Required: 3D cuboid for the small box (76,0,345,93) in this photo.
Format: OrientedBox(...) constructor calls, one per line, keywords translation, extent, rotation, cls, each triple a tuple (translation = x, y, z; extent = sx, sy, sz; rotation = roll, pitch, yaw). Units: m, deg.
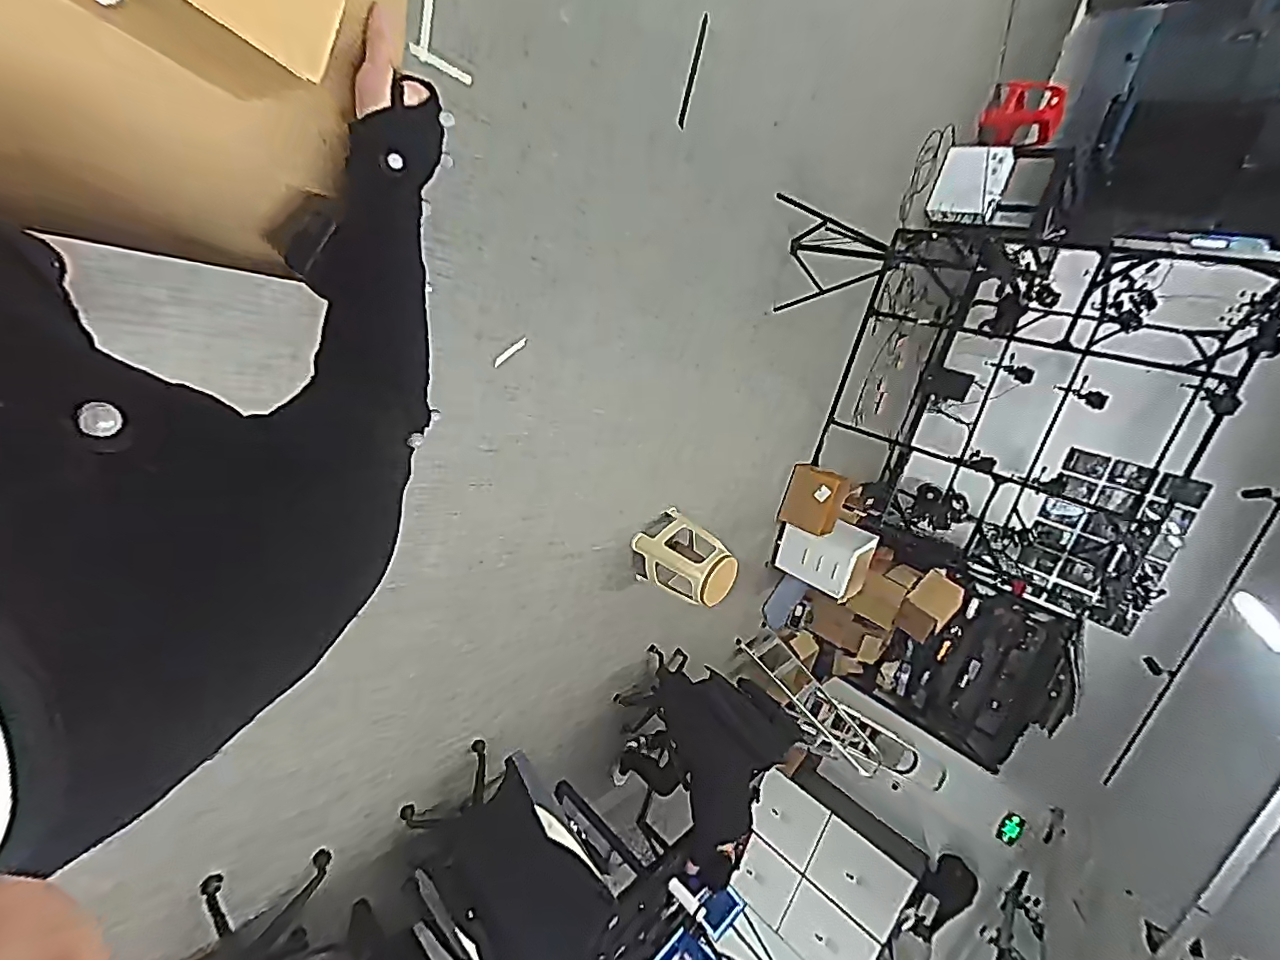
OrientedBox(translation=(-0.288, -0.371, 0.325), extent=(0.179, 0.176, 0.168), rotation=(14, 100, -50), cls="small box")
